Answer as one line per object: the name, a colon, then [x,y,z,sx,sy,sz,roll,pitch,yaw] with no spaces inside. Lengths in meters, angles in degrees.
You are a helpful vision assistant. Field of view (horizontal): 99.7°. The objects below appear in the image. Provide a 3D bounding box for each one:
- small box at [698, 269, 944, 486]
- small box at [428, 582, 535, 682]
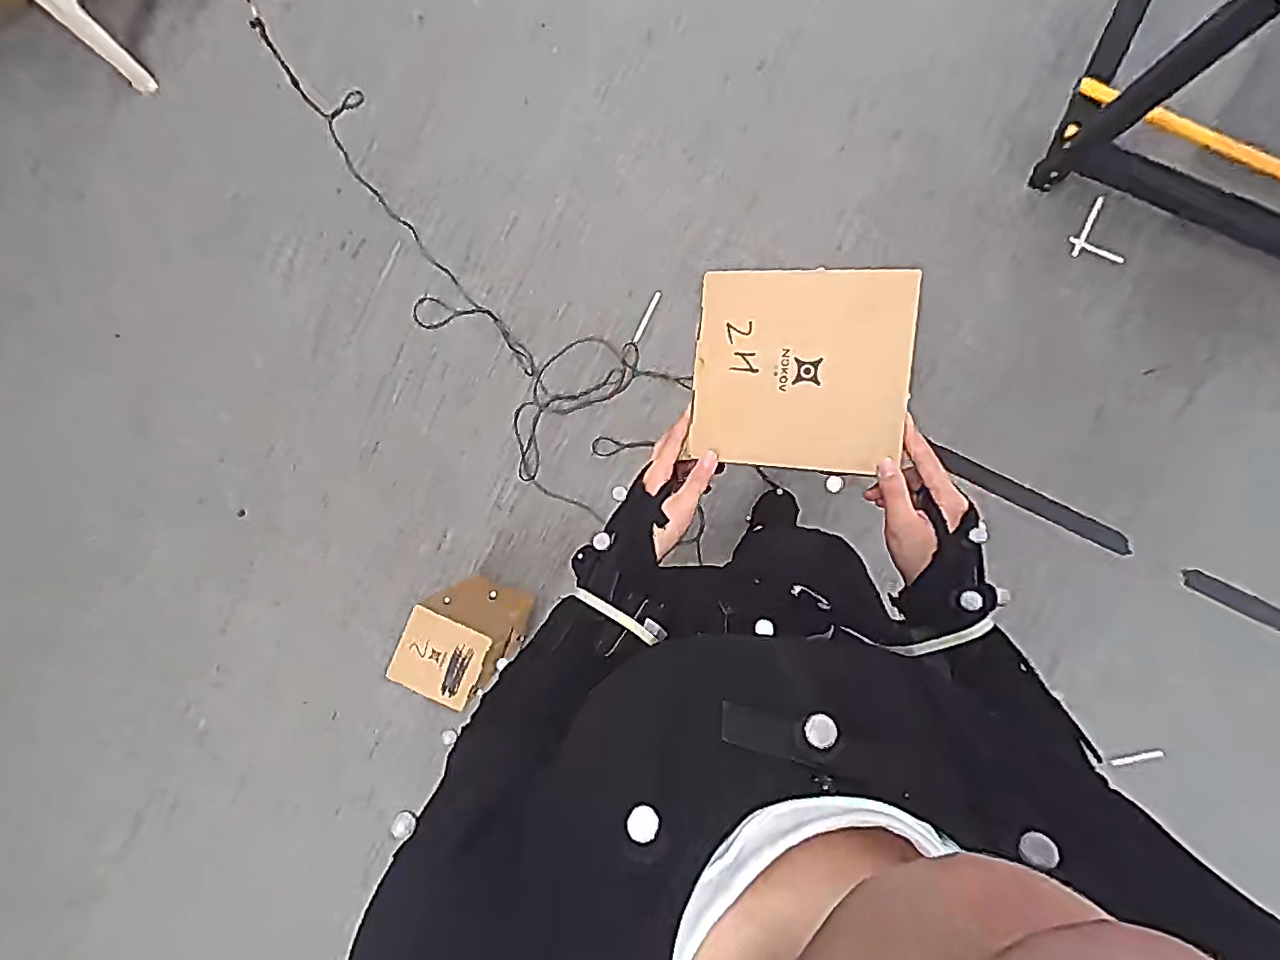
small box: [0.163,-0.088,0.516,0.179,0.176,0.168,7,92,16]
small box: [-0.378,0.359,1.318,0.179,0.176,0.168,19,92,3]
